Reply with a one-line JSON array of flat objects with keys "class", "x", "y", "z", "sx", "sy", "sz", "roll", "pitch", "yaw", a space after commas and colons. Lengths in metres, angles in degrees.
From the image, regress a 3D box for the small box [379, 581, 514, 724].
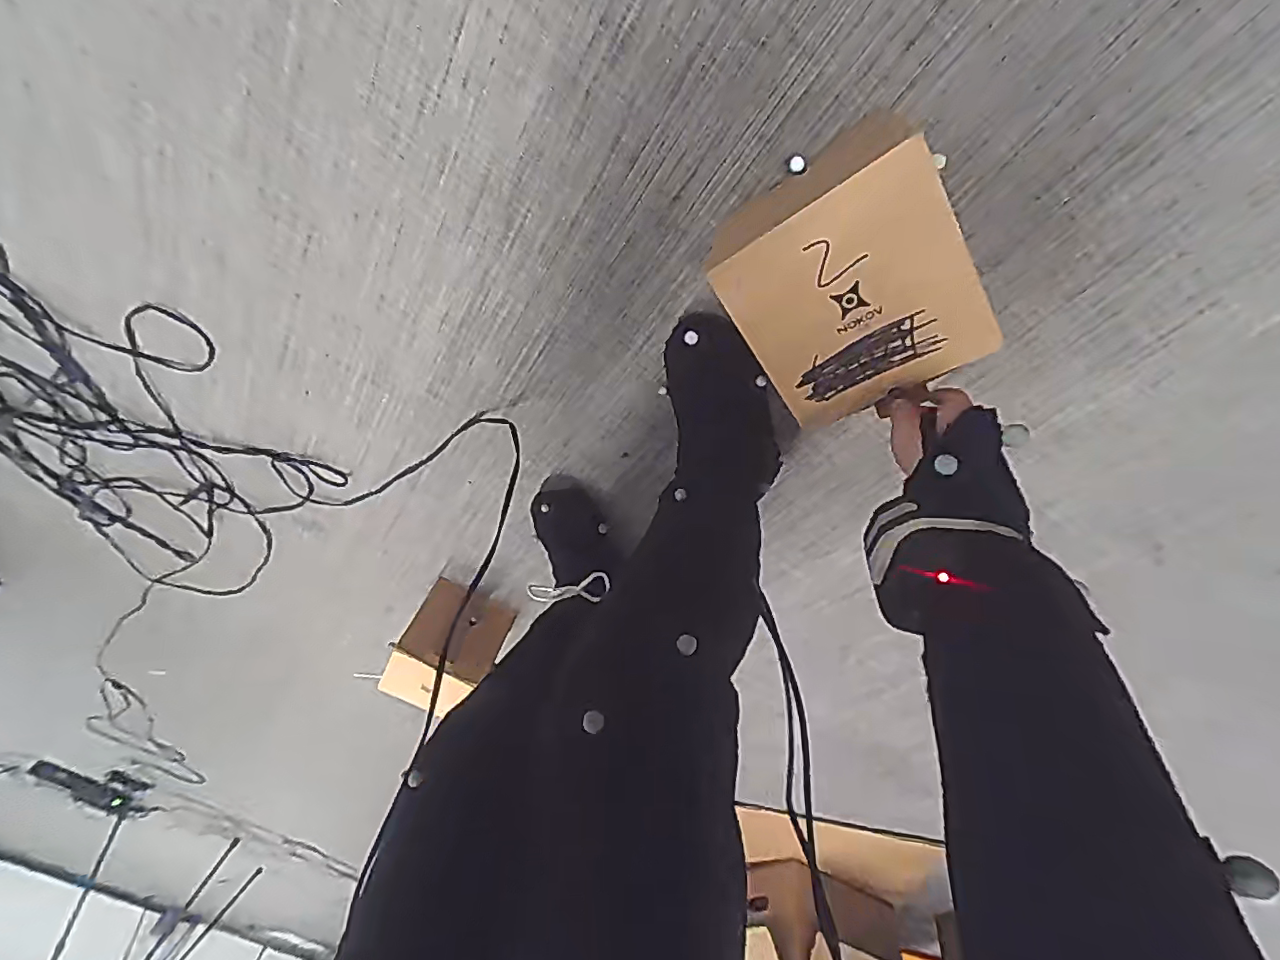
[{"class": "small box", "x": -0.365, "y": 0.329, "z": 1.038, "sx": 0.168, "sy": 0.176, "sz": 0.179, "roll": 30, "pitch": 129, "yaw": -9}]
